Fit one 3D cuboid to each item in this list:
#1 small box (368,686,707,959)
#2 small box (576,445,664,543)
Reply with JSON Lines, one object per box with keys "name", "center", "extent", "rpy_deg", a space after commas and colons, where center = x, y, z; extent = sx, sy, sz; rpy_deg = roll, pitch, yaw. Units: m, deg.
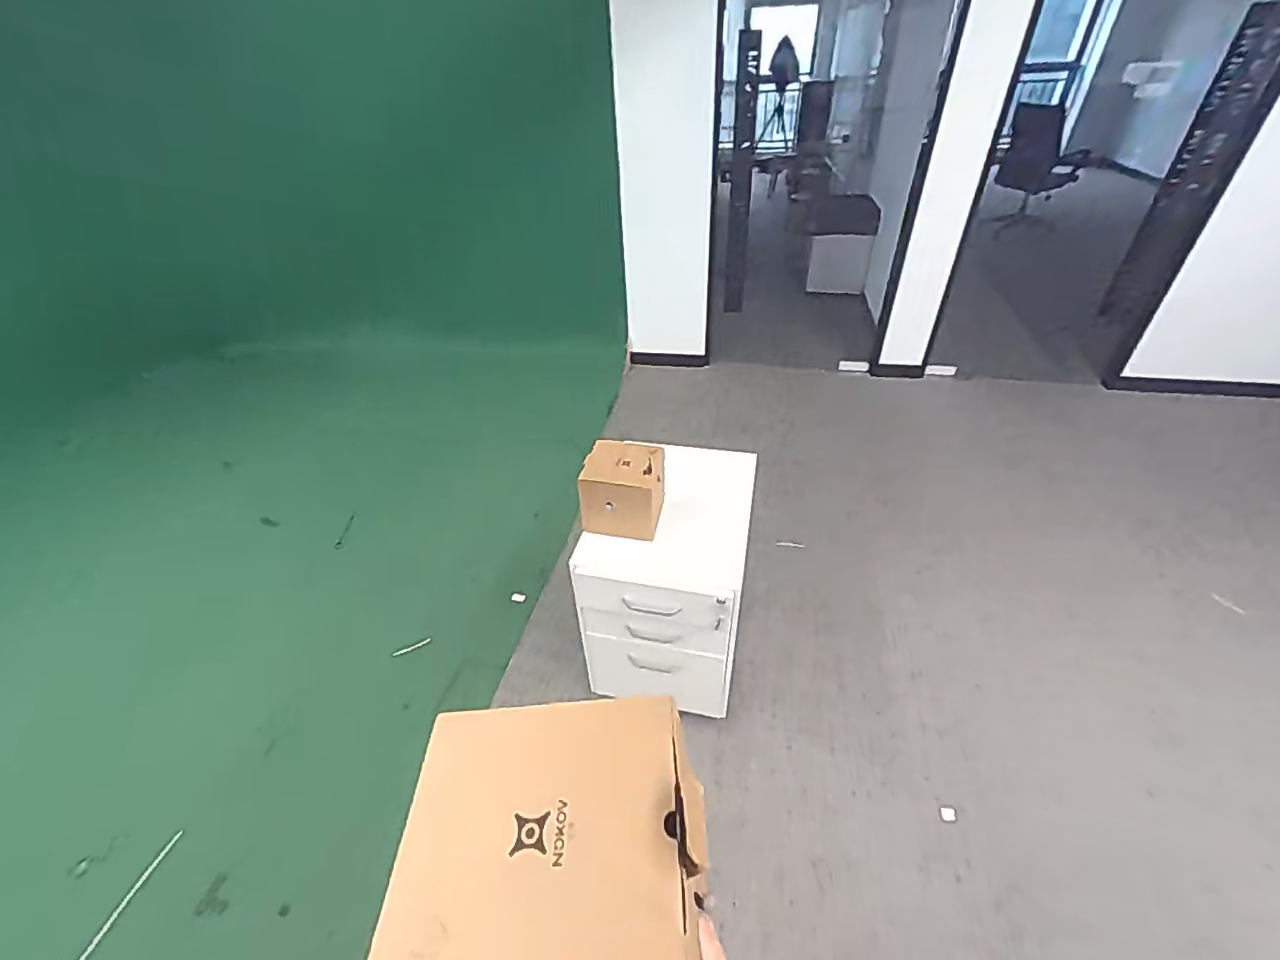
{"name": "small box", "center": [-0.049, 0.271, 0.382], "extent": [0.179, 0.176, 0.168], "rpy_deg": [-6, 38, 5]}
{"name": "small box", "center": [-0.042, 0.036, 1.316], "extent": [0.179, 0.176, 0.168], "rpy_deg": [7, 39, 11]}
